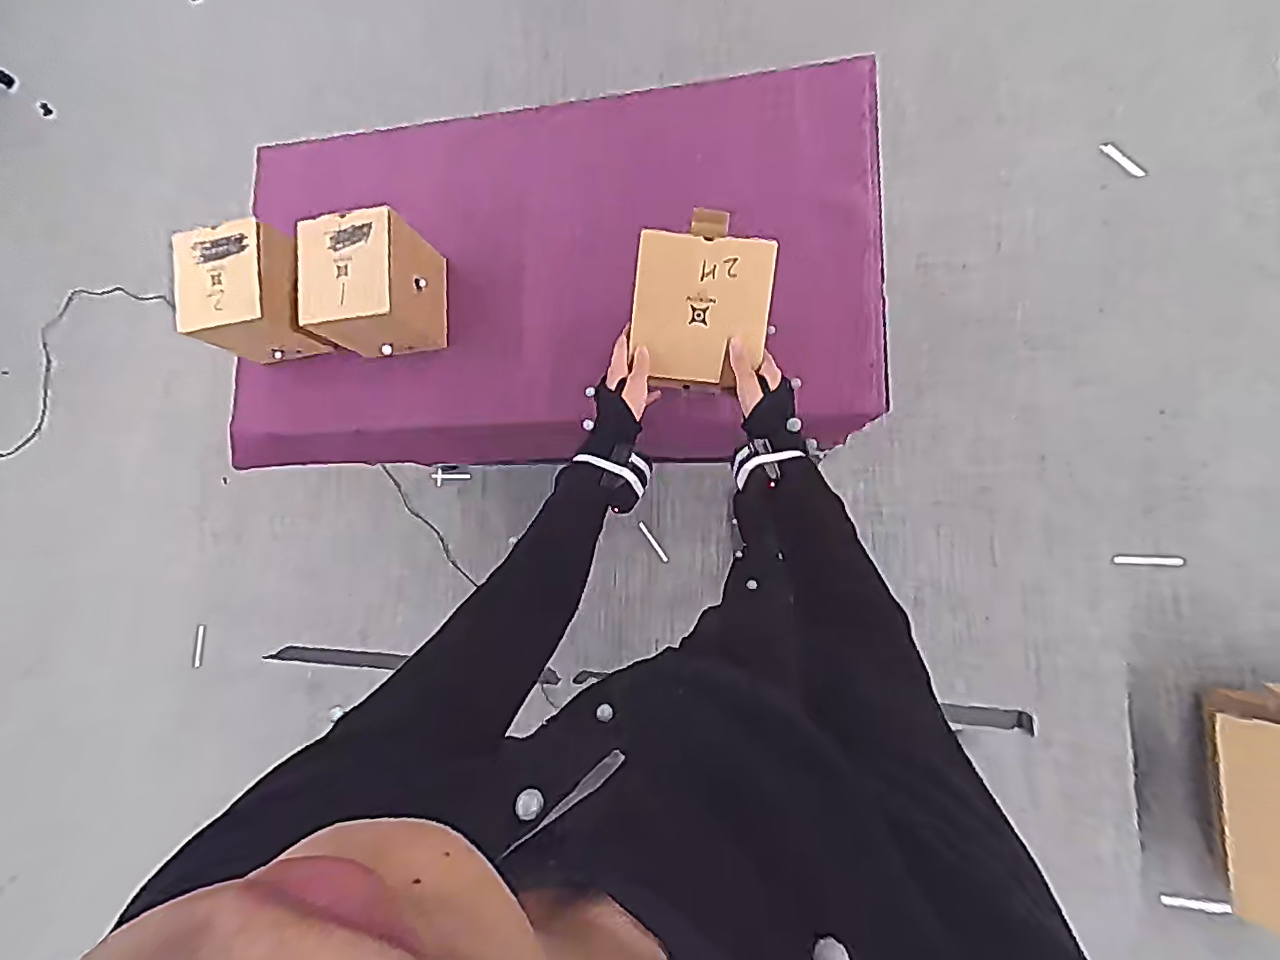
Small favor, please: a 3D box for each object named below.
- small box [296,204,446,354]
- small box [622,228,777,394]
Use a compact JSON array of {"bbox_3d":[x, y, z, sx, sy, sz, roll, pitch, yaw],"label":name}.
[{"bbox_3d":[-0.449,-0.332,0.925,0.168,0.176,0.179,-4,84,11],"label":"small box"},{"bbox_3d":[0.075,-0.211,0.719,0.168,0.176,0.179,7,97,4],"label":"small box"}]
